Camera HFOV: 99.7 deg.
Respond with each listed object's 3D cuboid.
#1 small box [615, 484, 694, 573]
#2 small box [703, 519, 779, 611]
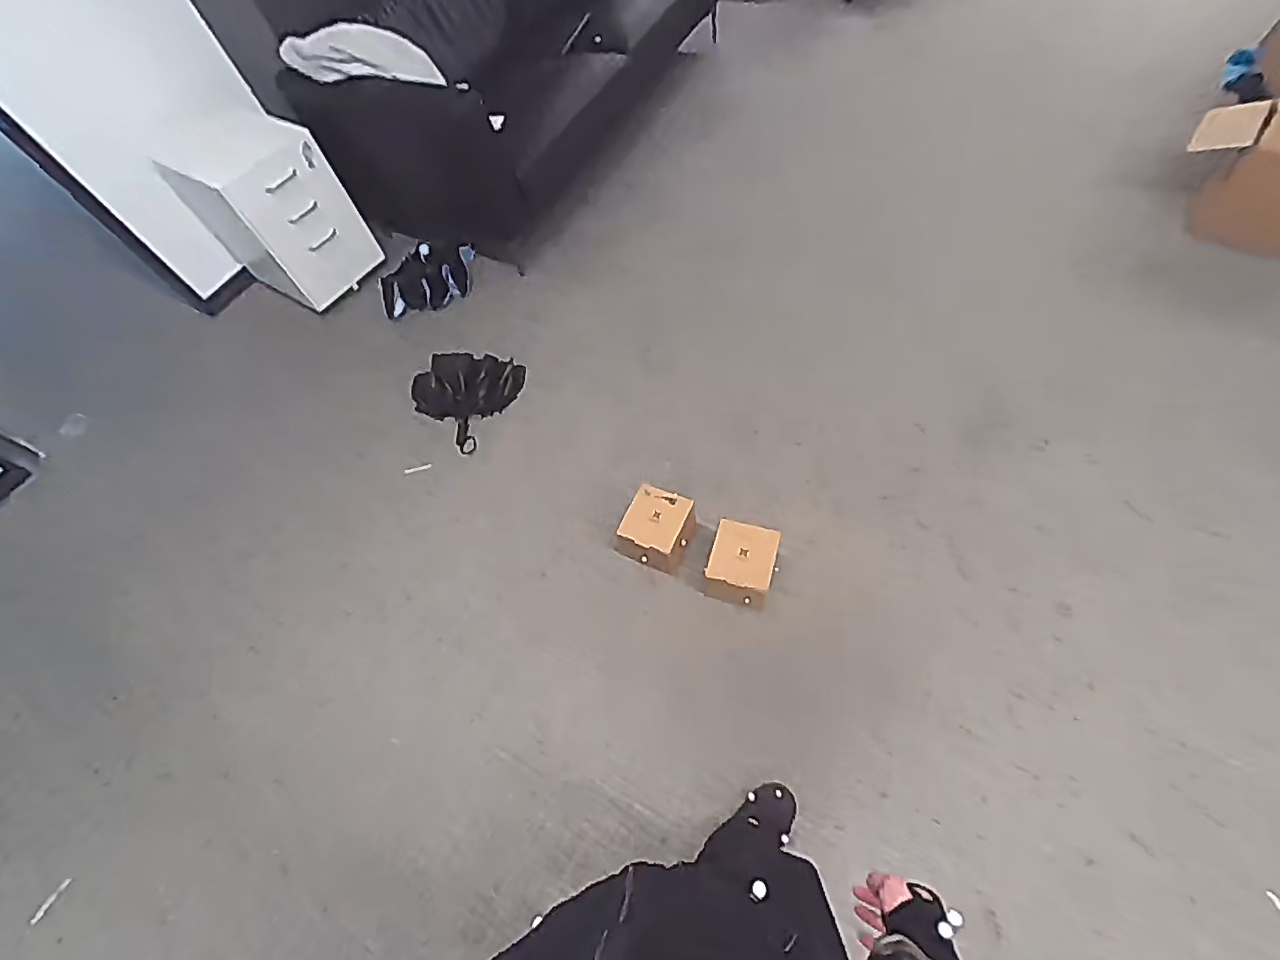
[{"bbox_3d":[0.050,0.145,1.560,0.168,0.176,0.179,20,65,19],"label":"small box"},{"bbox_3d":[0.274,0.236,1.473,0.168,0.176,0.179,13,61,14],"label":"small box"}]
